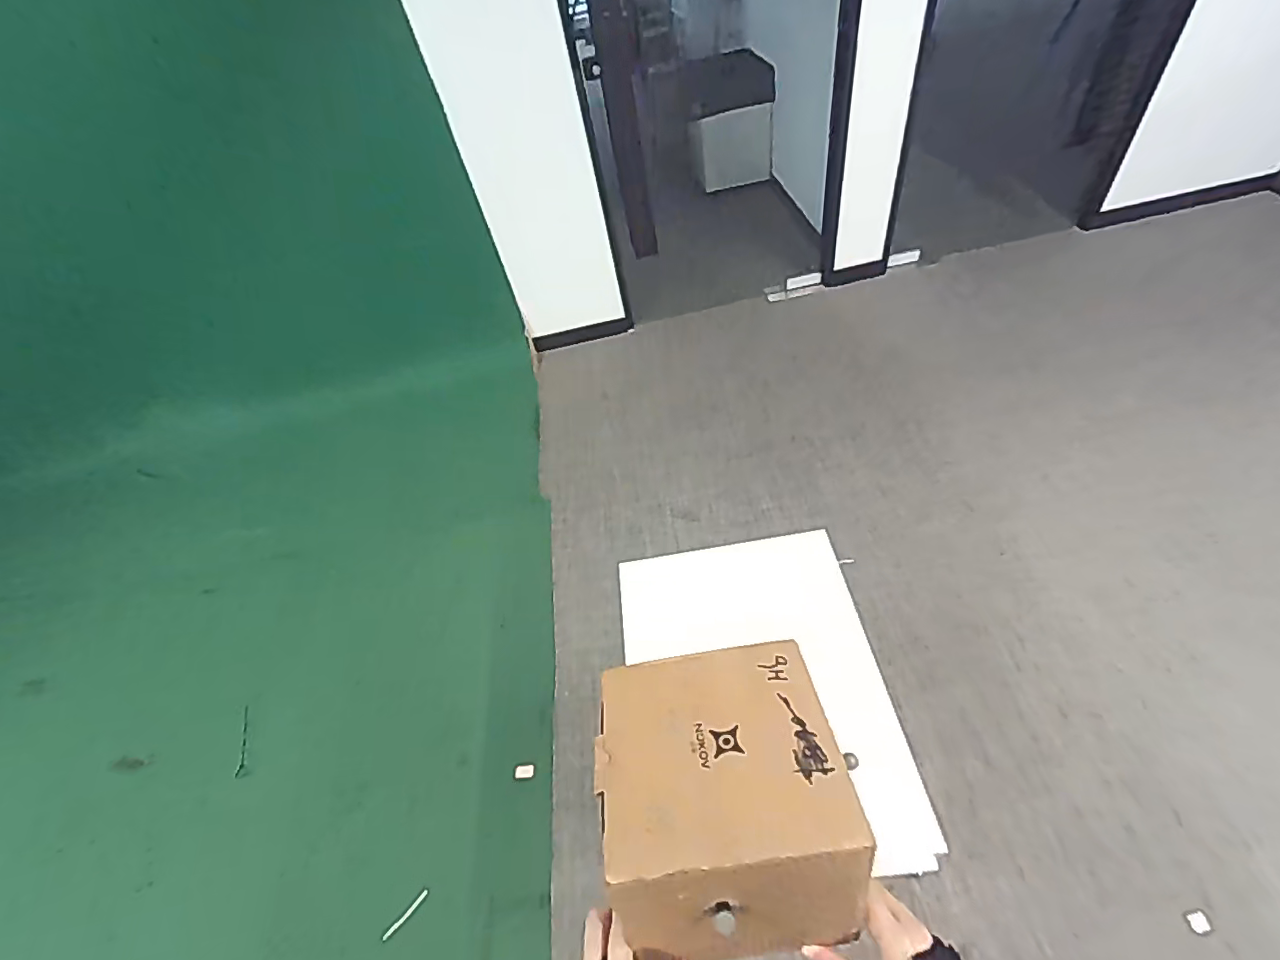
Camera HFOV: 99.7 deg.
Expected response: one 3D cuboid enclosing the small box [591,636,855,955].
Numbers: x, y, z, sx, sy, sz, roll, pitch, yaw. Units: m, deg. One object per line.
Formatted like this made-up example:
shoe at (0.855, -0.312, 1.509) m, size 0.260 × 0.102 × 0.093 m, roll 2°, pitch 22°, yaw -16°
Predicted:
small box at (0.063, 0.262, 0.455) m, size 0.179 × 0.176 × 0.168 m, roll -10°, pitch 34°, yaw 2°
